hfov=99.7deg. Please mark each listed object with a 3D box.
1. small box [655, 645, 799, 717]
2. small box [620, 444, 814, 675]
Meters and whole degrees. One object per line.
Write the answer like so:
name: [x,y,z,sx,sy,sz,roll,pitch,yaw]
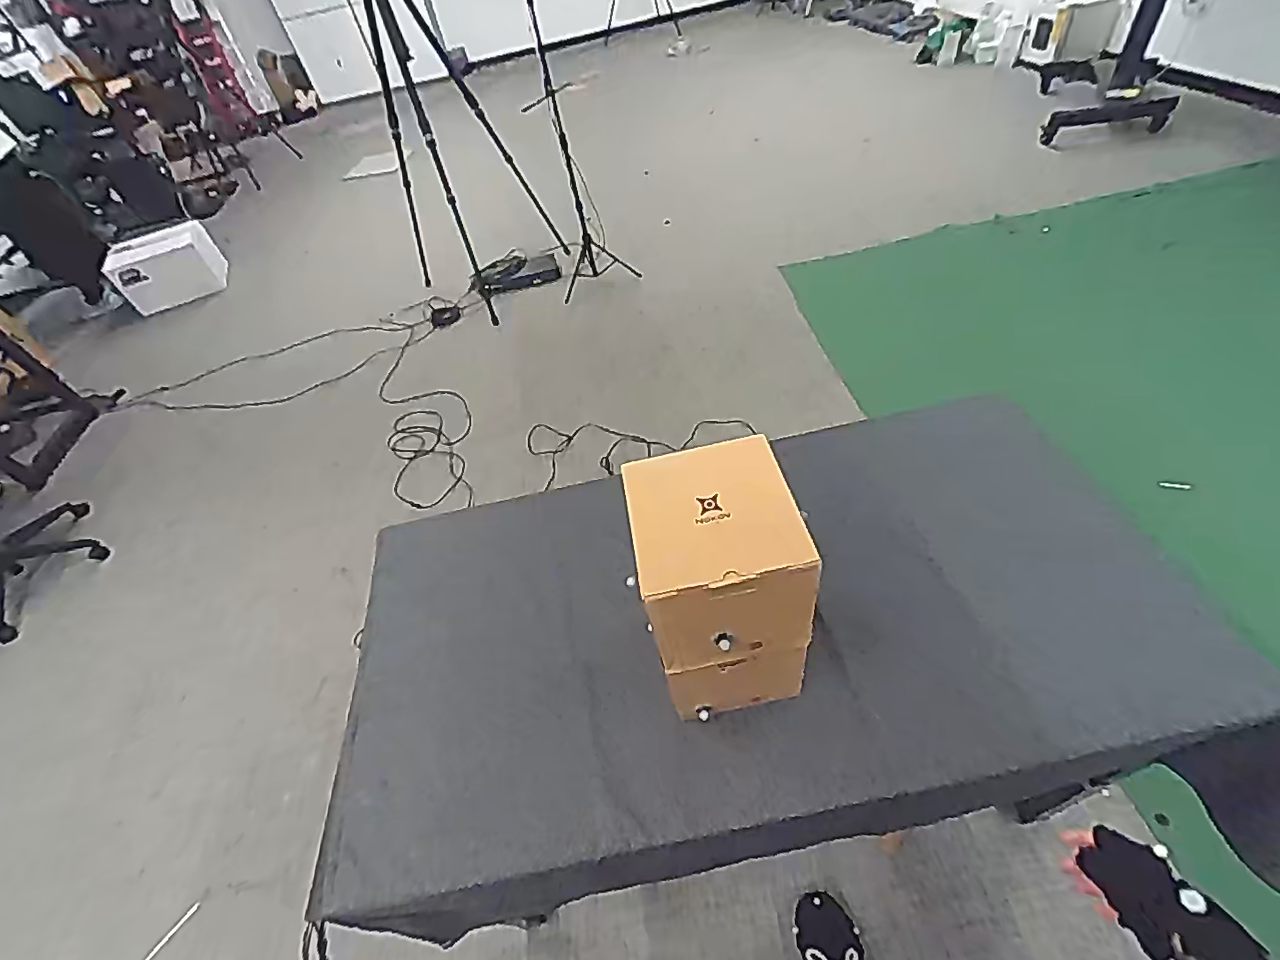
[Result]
small box: [0.104,0.199,0.726,0.168,0.176,0.179,-13,46,1]
small box: [0.079,0.091,0.607,0.168,0.176,0.179,-13,47,1]
